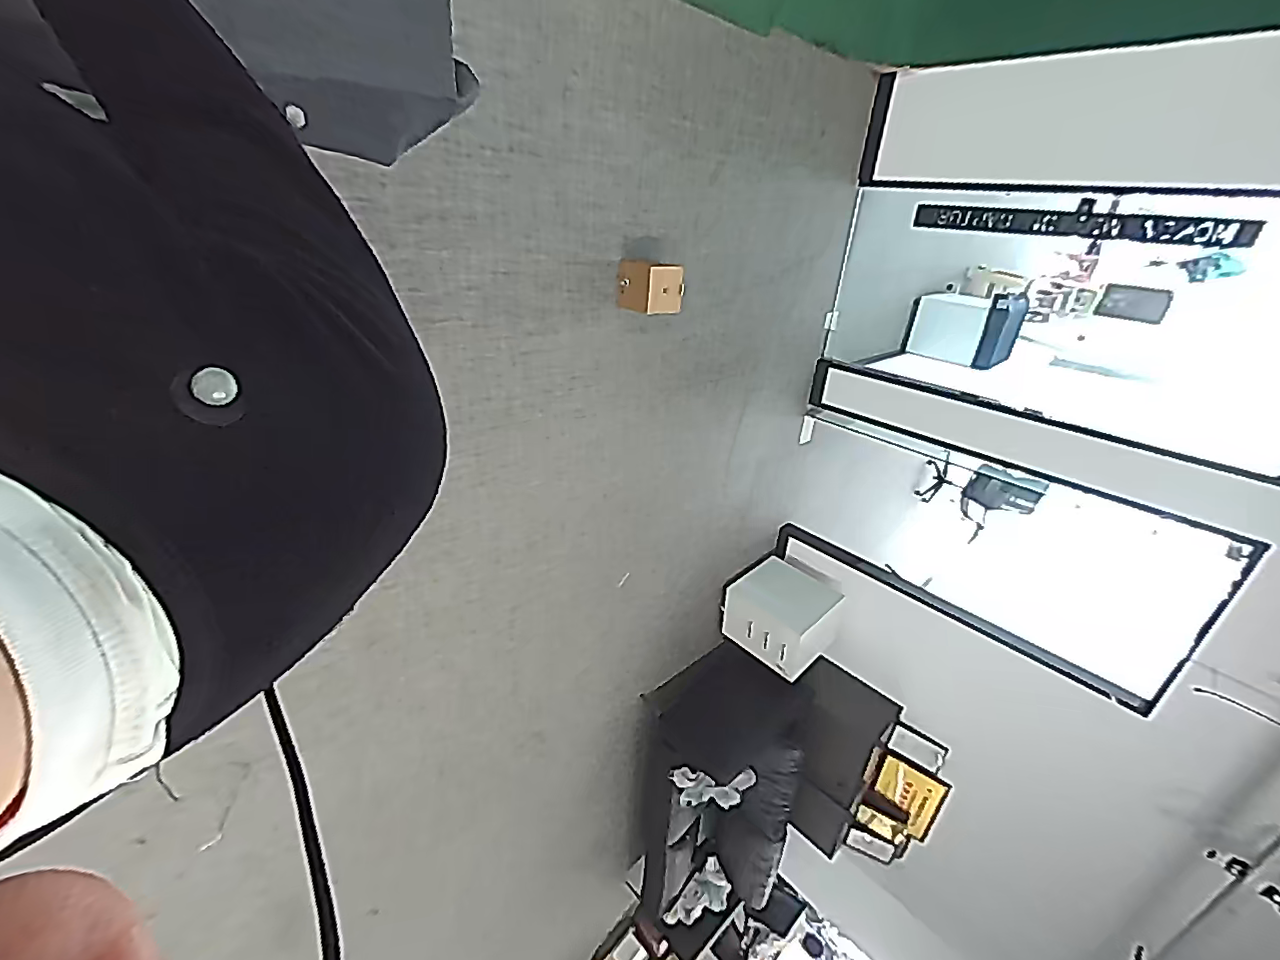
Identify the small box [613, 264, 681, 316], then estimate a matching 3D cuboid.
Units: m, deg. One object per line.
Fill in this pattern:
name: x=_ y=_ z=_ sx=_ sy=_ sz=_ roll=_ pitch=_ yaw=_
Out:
small box: x=0.025 y=-0.704 z=2.003 sx=0.179 sy=0.176 sz=0.168 roll=-17 pitch=122 yaw=-41
